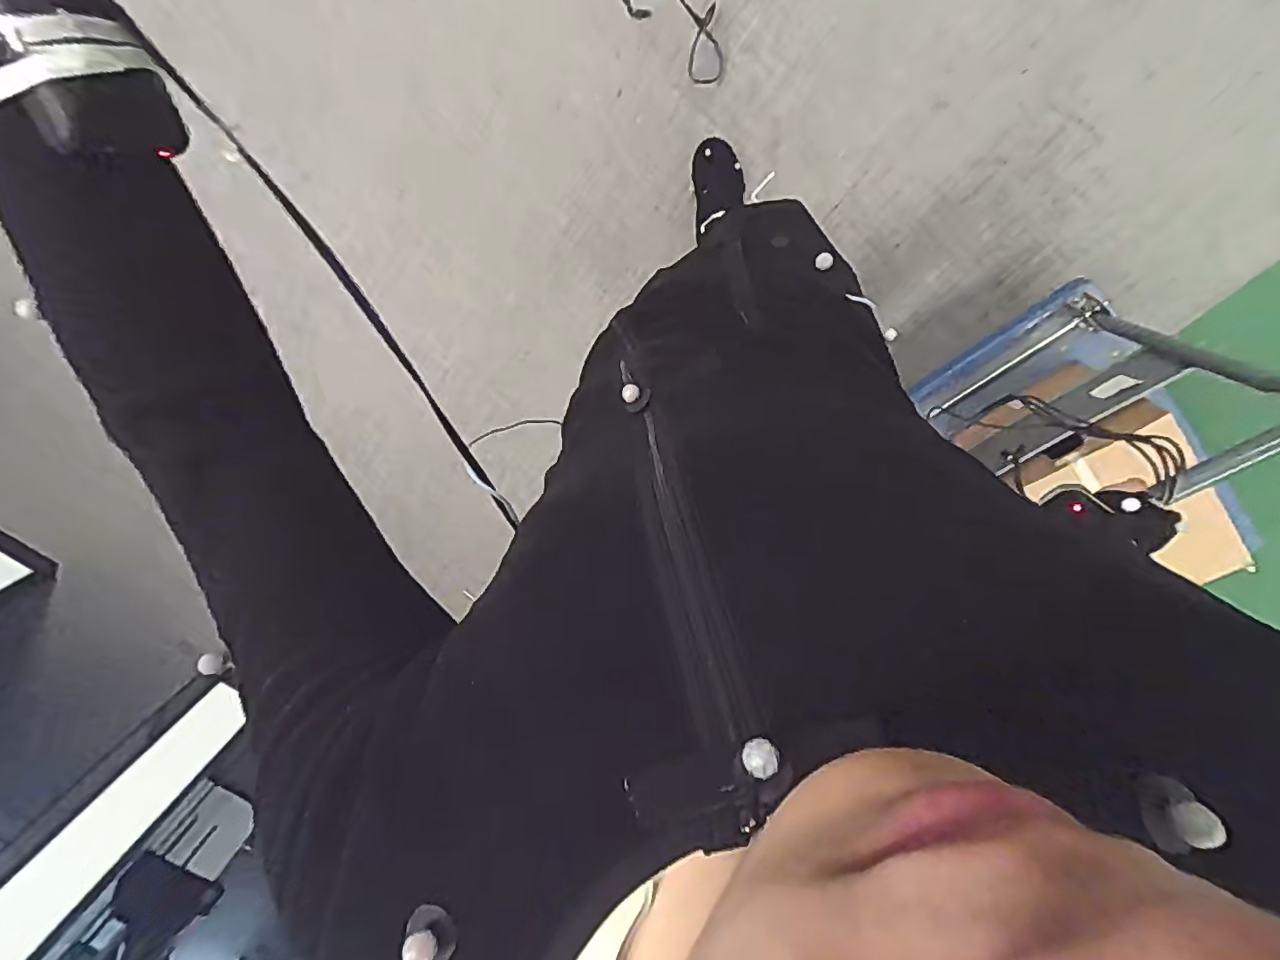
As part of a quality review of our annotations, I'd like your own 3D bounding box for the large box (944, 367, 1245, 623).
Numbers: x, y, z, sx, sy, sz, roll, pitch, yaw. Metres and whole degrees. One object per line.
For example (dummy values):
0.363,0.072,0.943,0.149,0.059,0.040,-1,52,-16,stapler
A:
0.965,0.028,1.198,0.320,0.320,0.408,-35,107,26,large box
